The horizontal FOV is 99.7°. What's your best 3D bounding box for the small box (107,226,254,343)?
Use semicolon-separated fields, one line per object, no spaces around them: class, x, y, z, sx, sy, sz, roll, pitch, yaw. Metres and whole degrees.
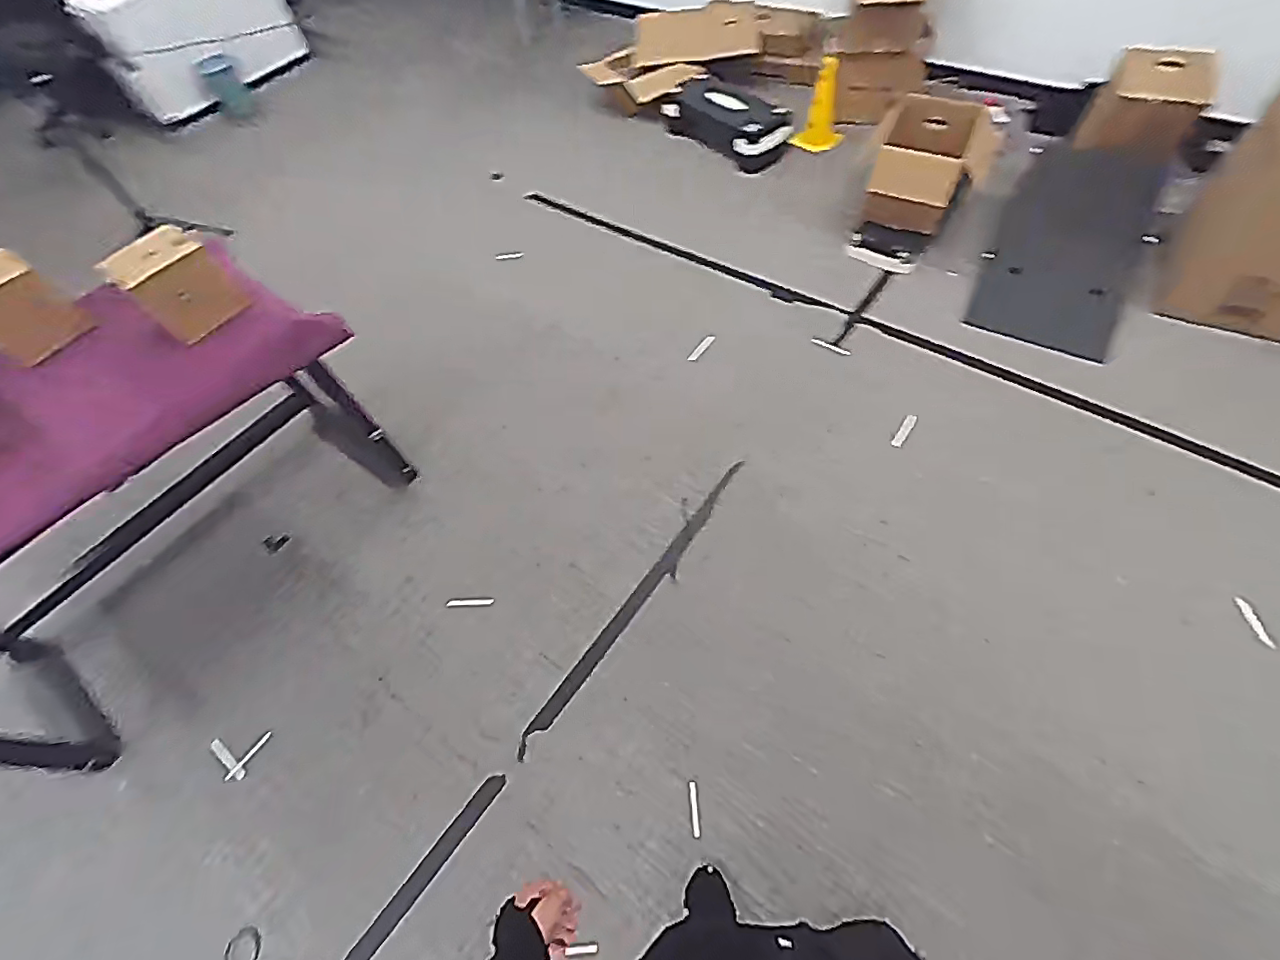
small box;-1.082;-0.461;1.288;0.168;0.176;0.179;33;69;22
